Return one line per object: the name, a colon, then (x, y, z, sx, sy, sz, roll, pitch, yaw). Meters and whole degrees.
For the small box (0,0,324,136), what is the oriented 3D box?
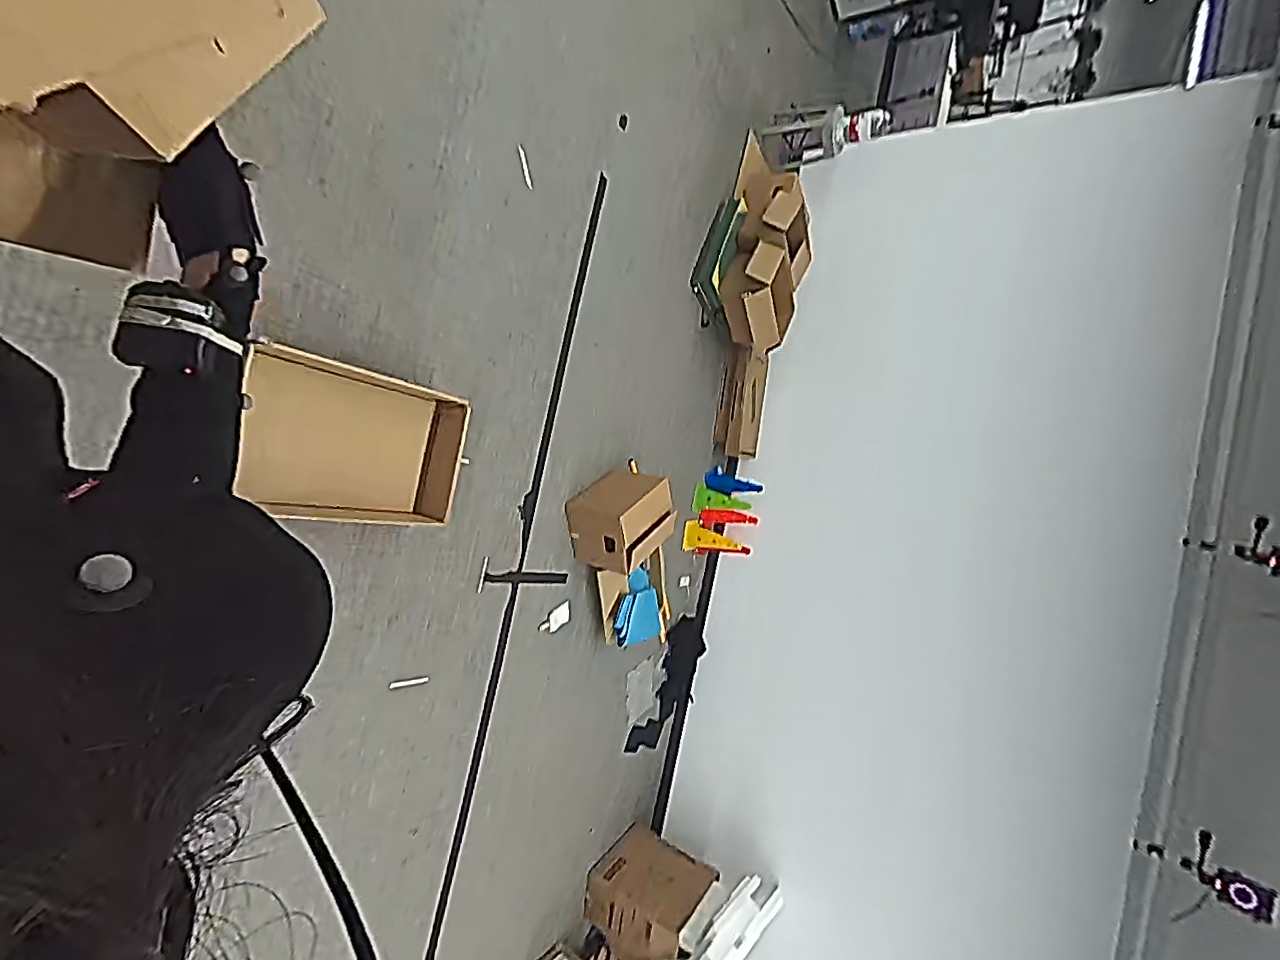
small box: (-0.351, -0.340, 0.321, 0.168, 0.176, 0.179, -62, 155, -19)
